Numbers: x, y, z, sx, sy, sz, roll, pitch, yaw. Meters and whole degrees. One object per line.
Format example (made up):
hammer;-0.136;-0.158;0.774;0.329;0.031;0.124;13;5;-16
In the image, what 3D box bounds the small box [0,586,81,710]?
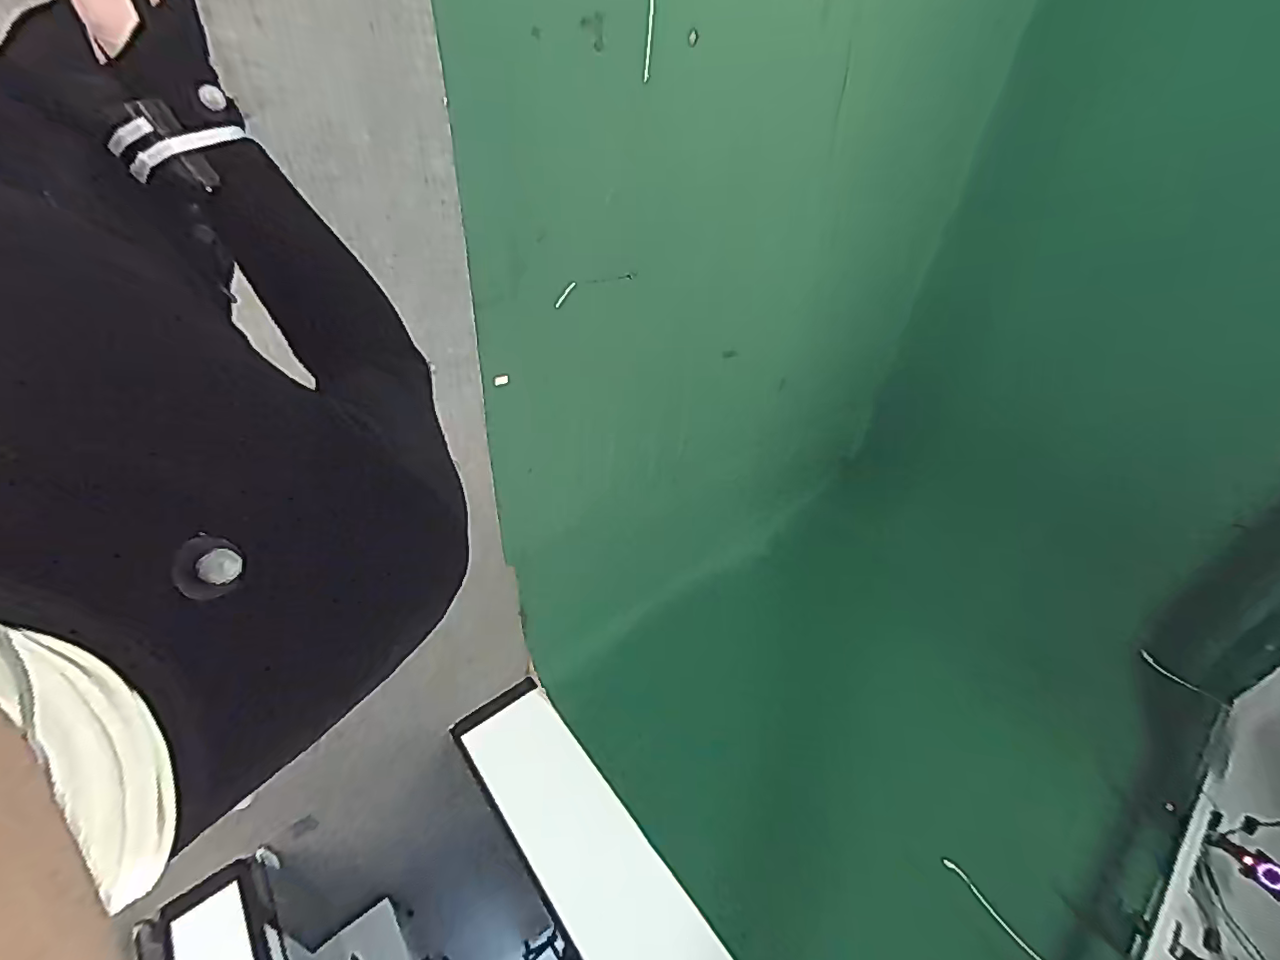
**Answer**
small box;-1.347;0.362;1.163;0.168;0.176;0.179;-19;133;-36
